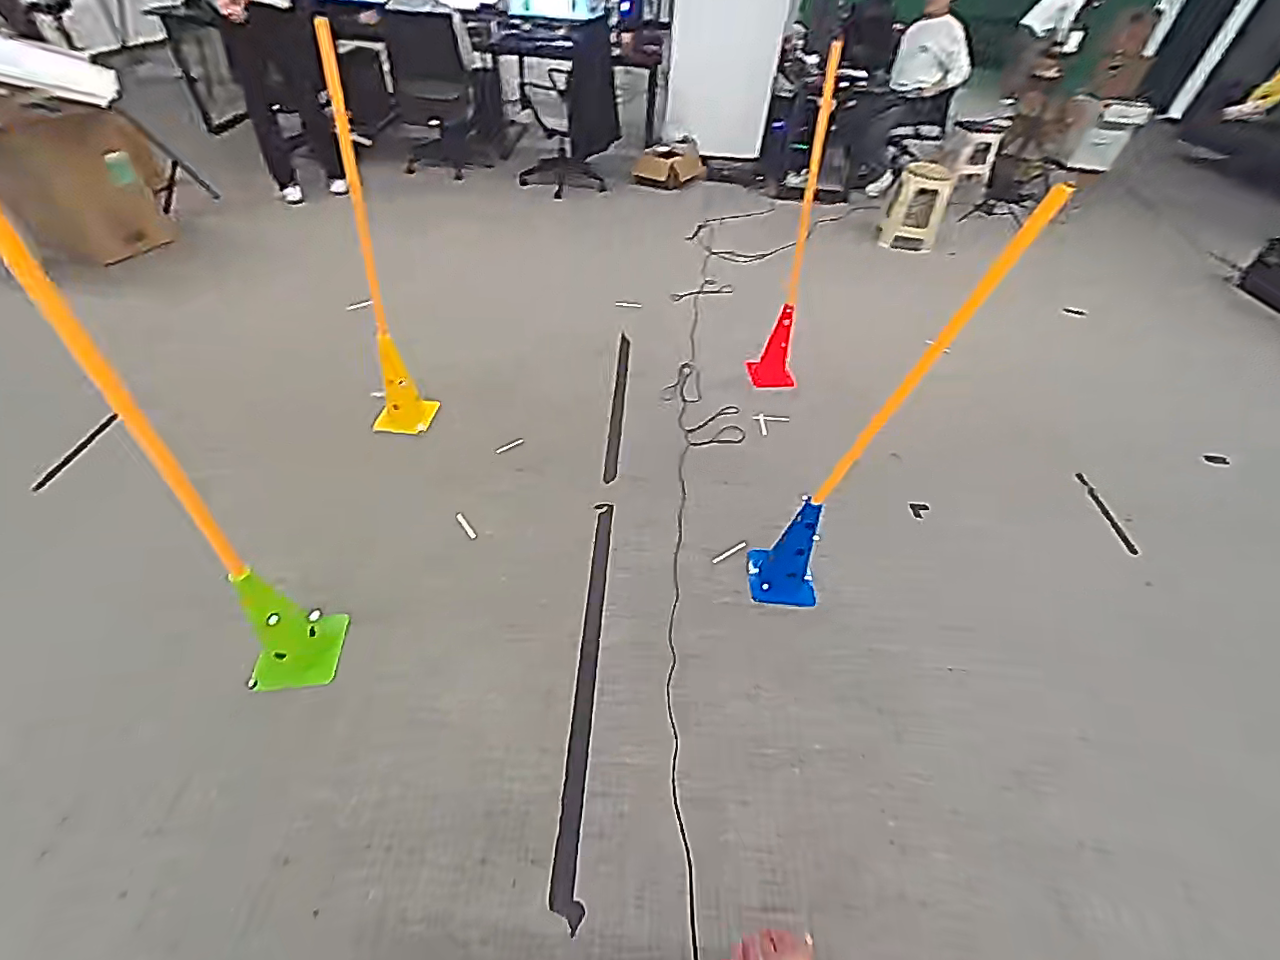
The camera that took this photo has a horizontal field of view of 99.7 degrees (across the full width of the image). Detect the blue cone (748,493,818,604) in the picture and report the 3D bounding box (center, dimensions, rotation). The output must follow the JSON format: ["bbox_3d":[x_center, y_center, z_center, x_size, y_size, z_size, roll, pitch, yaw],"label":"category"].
[{"bbox_3d":[0.451,0.187,1.584,0.193,0.380,0.192,6,44,0],"label":"blue cone"}]

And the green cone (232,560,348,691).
[{"bbox_3d":[-0.877,0.325,1.299,0.200,0.368,0.202,-3,44,-9],"label":"green cone"}]

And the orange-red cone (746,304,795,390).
[{"bbox_3d":[0.606,-0.594,2.359,0.199,0.360,0.198,0,45,-4],"label":"orange-red cone"}]
